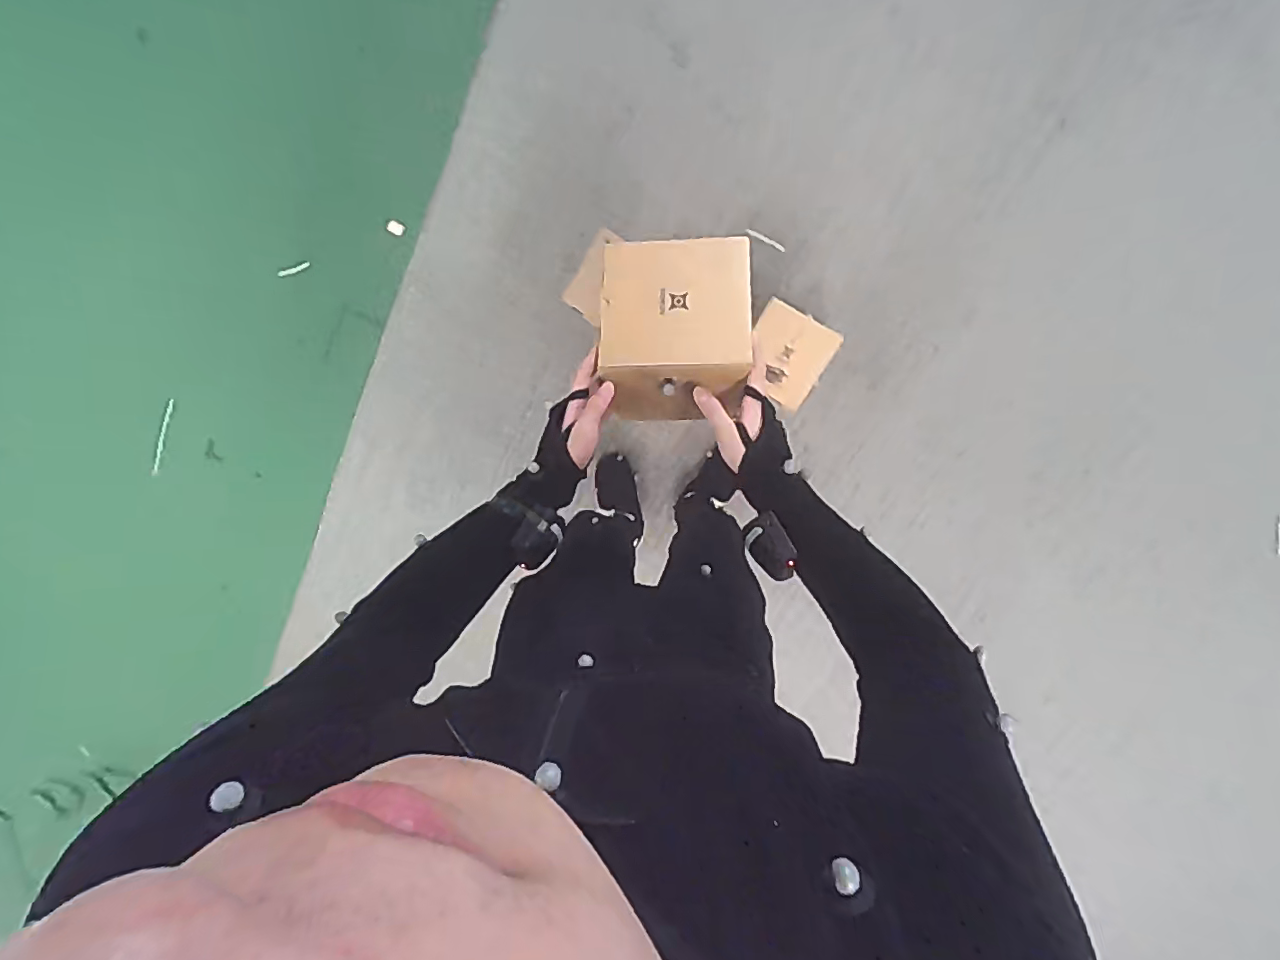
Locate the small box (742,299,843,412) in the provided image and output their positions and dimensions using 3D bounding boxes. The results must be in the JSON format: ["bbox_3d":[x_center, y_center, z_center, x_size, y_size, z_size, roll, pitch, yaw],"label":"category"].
[{"bbox_3d":[0.315,-0.269,1.185,0.168,0.176,0.179,32,106,4],"label":"small box"}]

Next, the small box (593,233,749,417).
[{"bbox_3d":[0.042,-0.187,0.695,0.179,0.176,0.168,-2,74,7],"label":"small box"}]

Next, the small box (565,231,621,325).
[{"bbox_3d":[-0.037,-0.425,1.227,0.168,0.176,0.179,37,107,1],"label":"small box"}]
